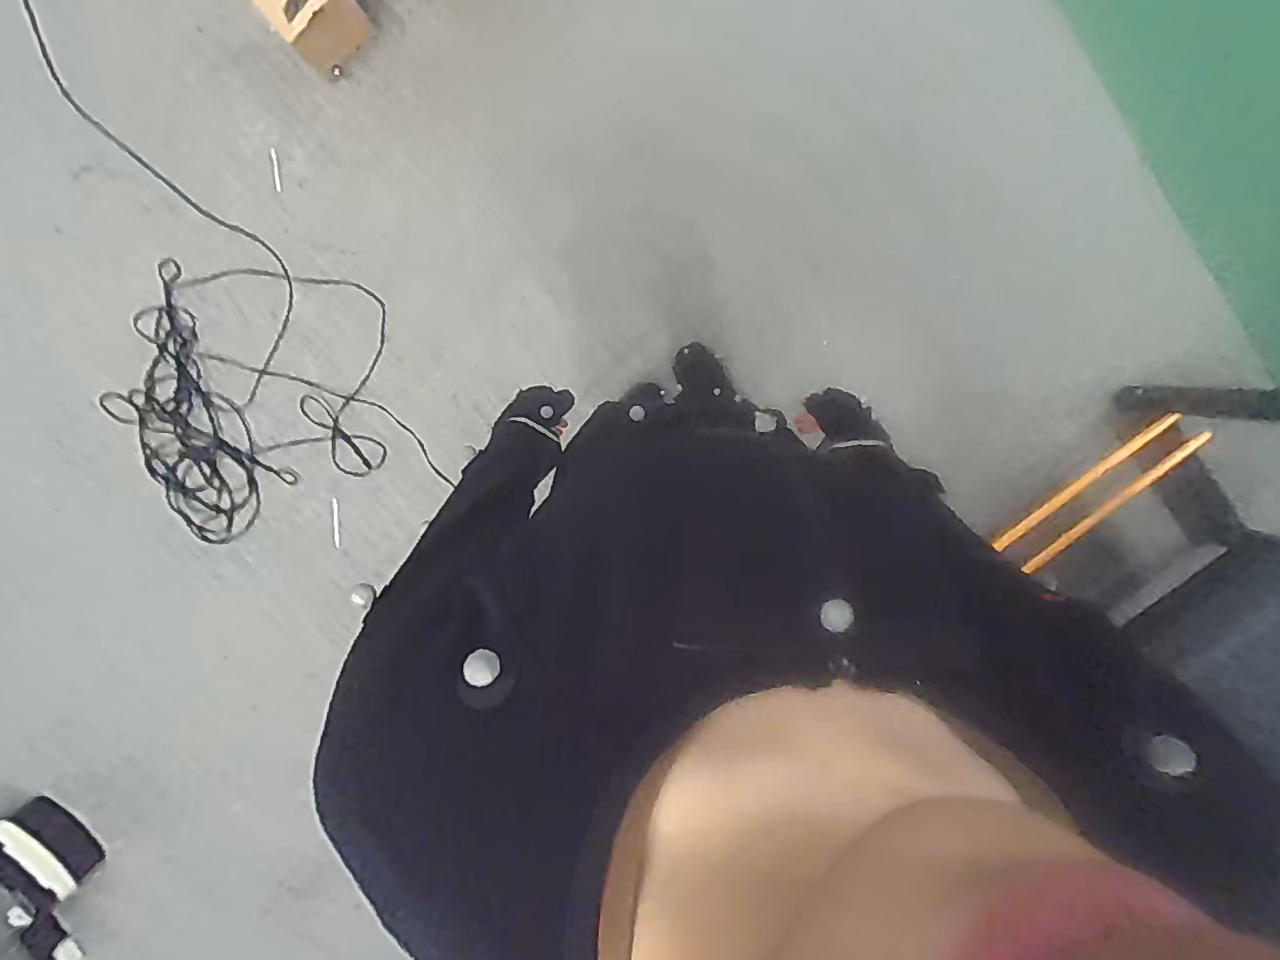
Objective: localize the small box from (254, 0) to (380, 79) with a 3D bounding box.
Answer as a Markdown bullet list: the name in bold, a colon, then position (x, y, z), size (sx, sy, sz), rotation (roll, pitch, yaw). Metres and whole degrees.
- **small box**: position (-0.709, -1.024, 1.176), size (0.168, 0.176, 0.179), rotation (-40, 99, 6)
